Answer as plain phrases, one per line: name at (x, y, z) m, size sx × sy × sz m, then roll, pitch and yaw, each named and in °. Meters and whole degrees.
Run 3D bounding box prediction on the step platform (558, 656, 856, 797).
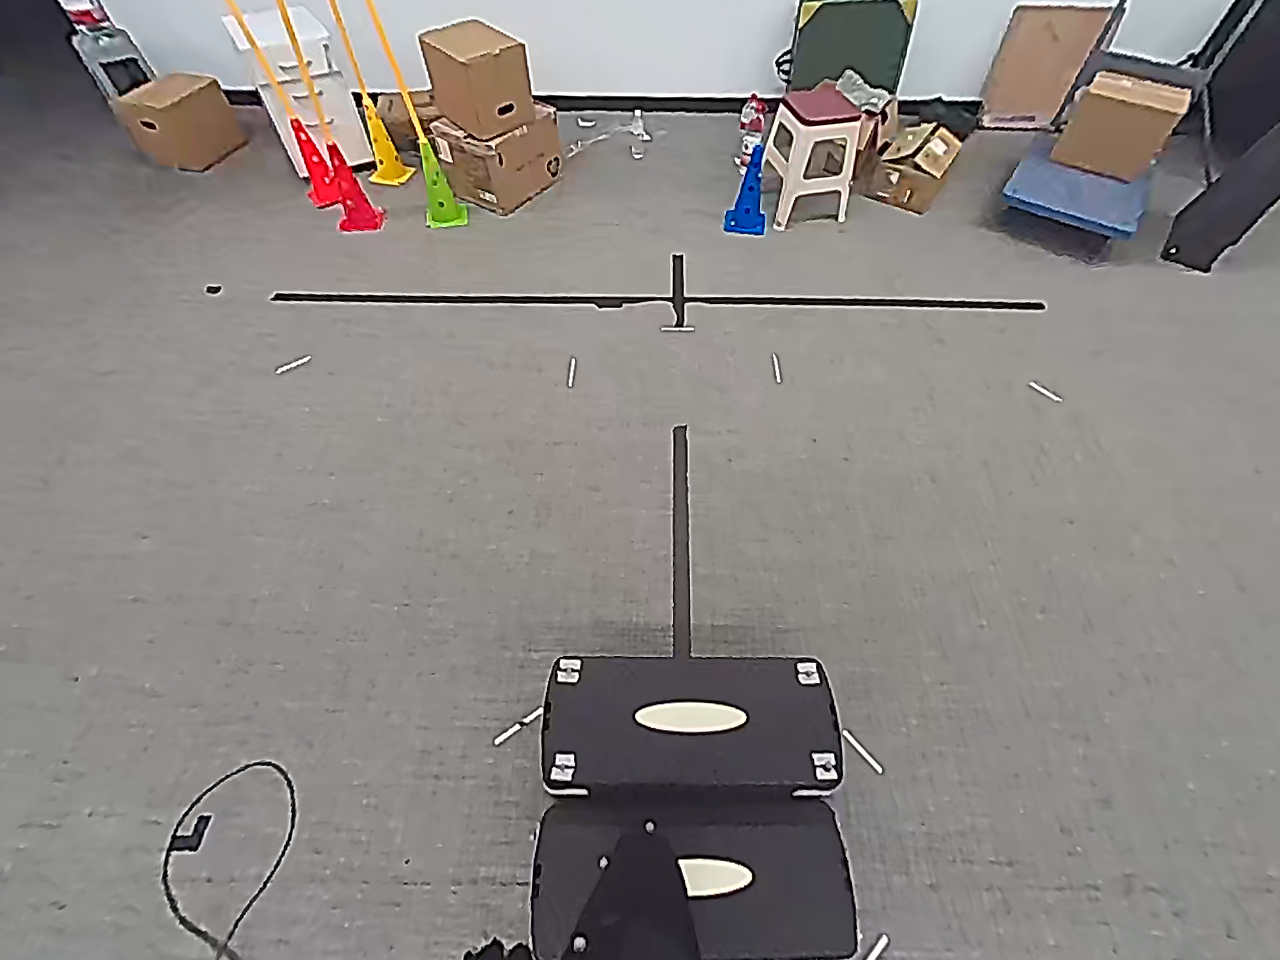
step platform at (0.148, 0.583, 1.293) m, size 0.684 × 0.204 × 0.286 m, roll 0°, pitch 55°, yaw -1°
